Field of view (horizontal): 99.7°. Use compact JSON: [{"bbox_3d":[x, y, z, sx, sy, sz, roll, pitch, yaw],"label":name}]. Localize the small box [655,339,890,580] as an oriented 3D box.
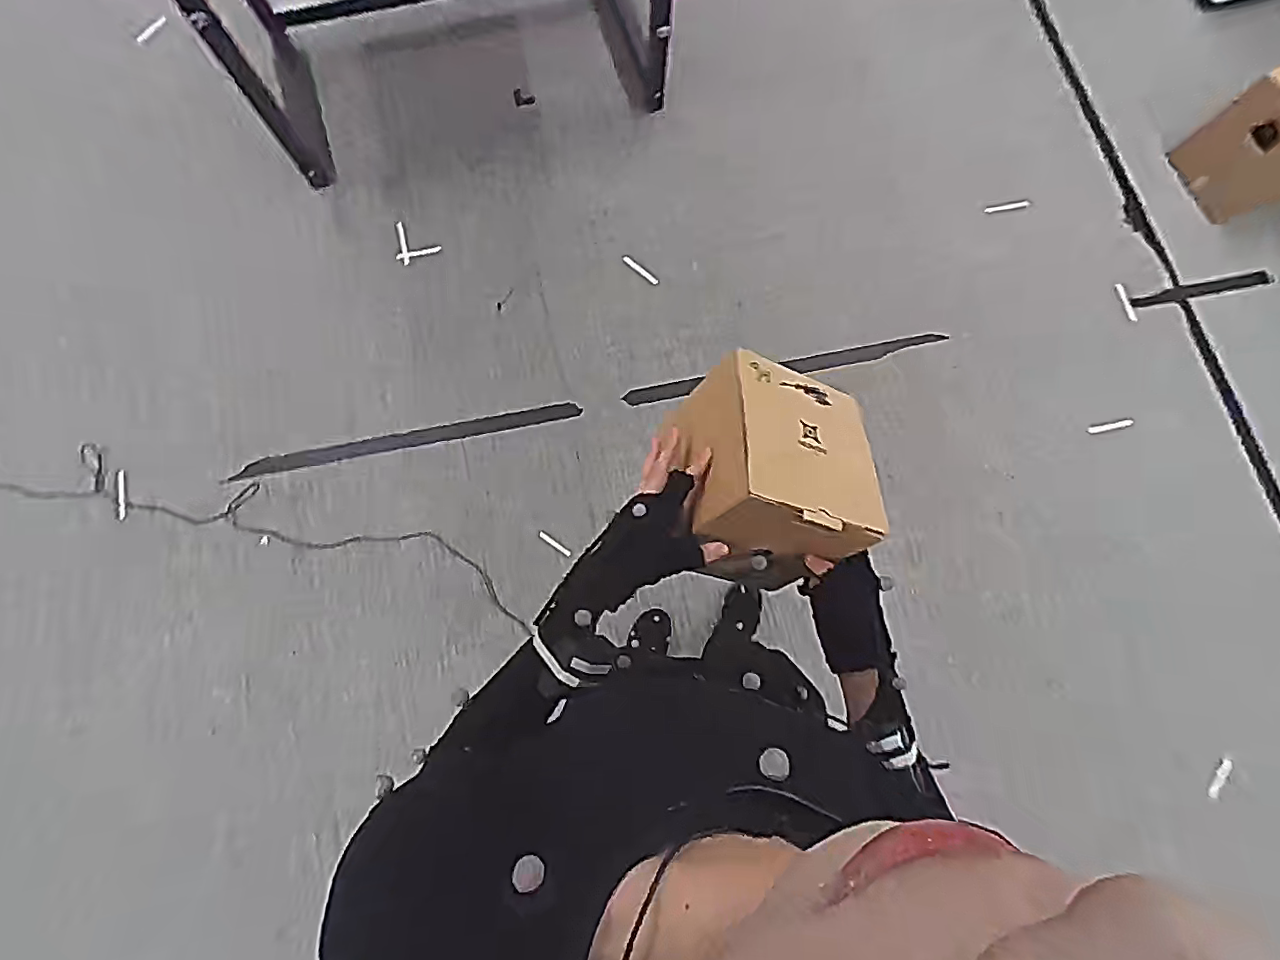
[{"bbox_3d":[0.125,-0.009,0.576,0.168,0.176,0.179,16,55,-22],"label":"small box"}]
